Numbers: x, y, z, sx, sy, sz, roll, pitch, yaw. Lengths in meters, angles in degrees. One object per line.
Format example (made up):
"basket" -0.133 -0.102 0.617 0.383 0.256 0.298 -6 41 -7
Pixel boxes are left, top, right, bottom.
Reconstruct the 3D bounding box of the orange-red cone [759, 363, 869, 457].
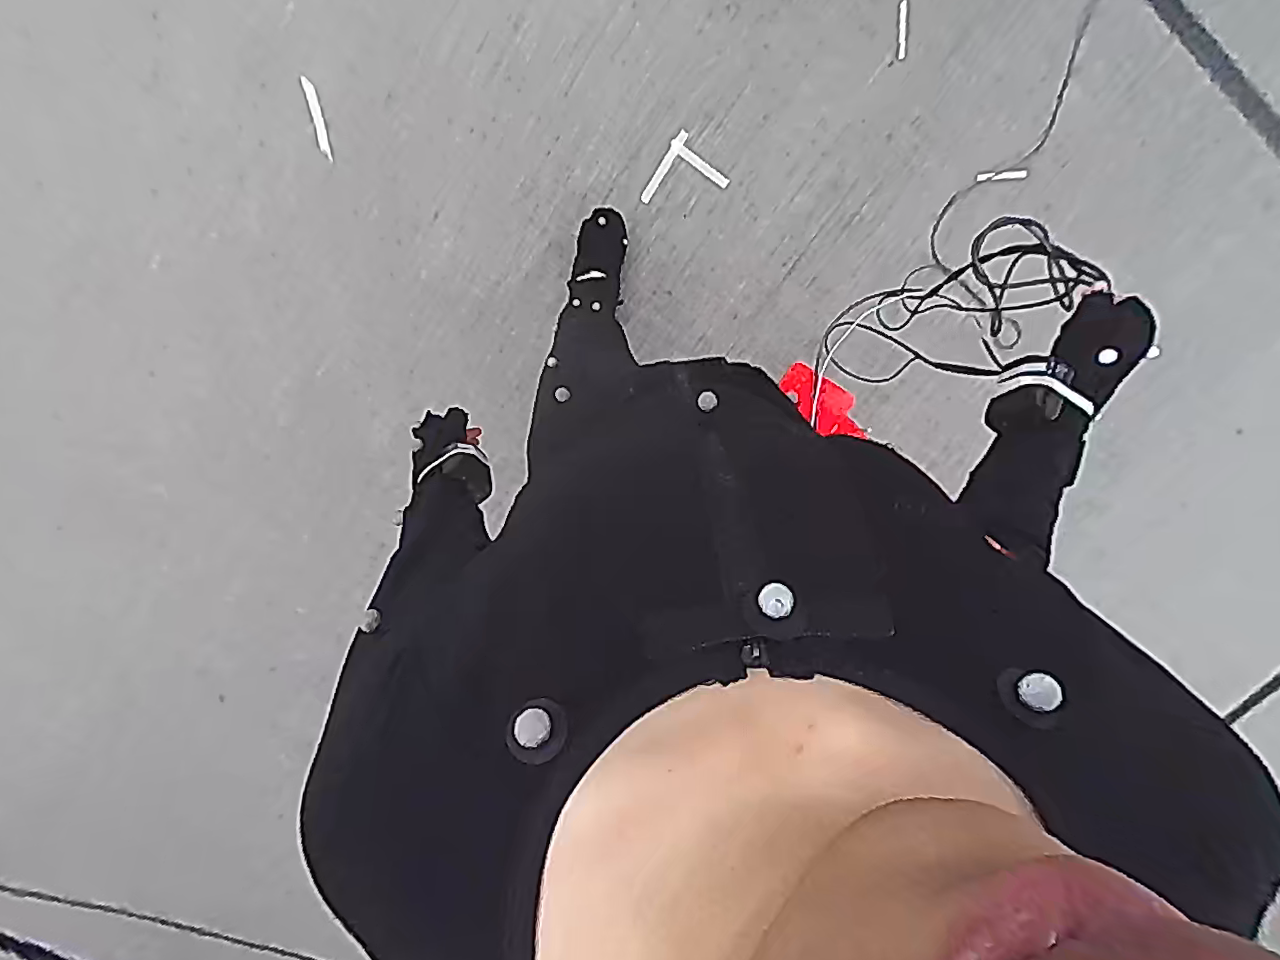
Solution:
"orange-red cone" 0.441 -0.128 1.253 0.199 0.360 0.198 30 105 -11
